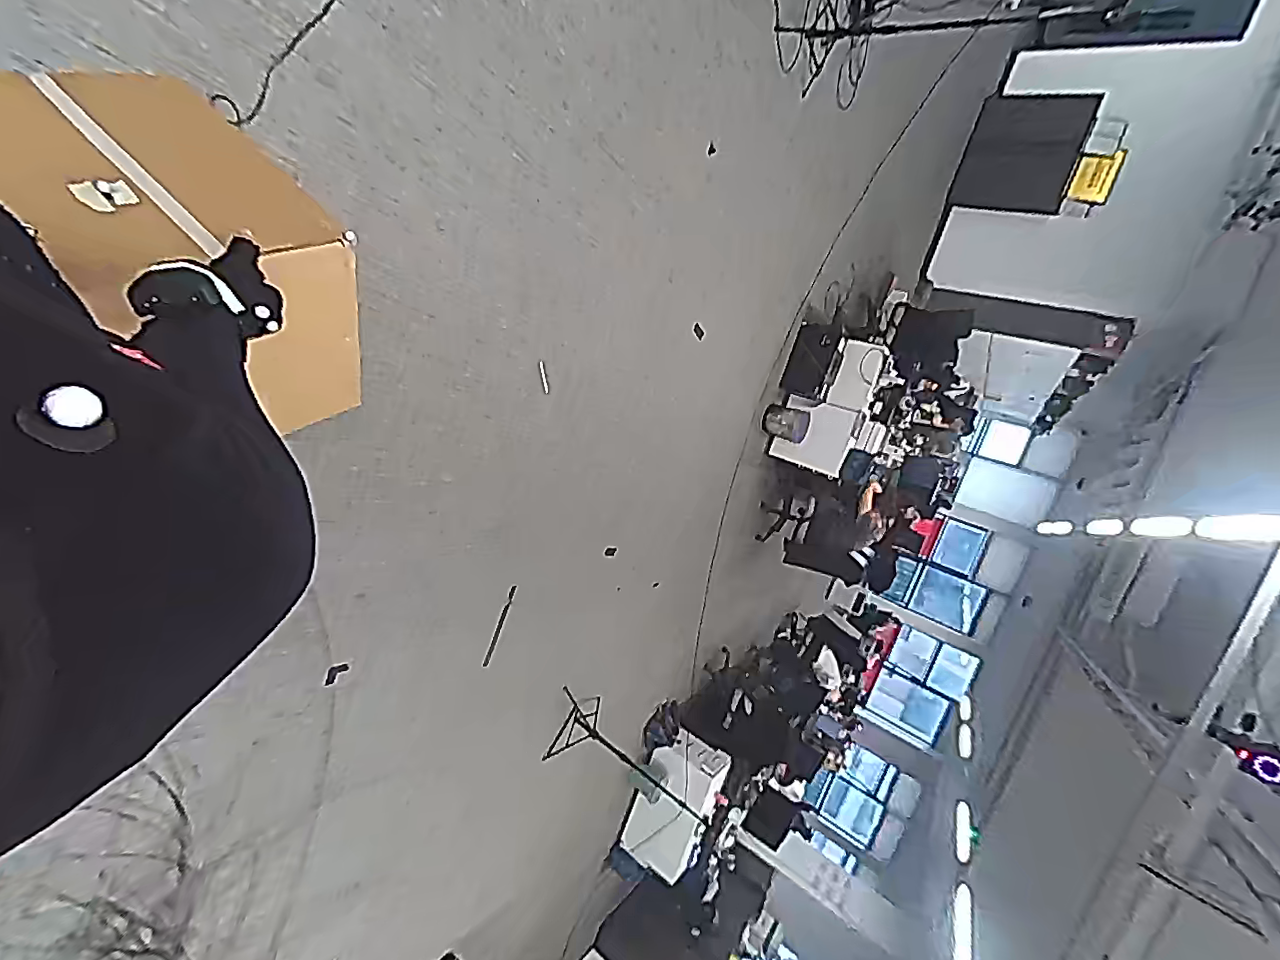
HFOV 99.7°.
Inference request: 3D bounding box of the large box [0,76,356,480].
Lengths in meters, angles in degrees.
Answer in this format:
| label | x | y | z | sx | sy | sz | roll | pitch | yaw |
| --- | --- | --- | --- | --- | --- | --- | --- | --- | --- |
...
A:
| label | x | y | z | sx | sy | sz | roll | pitch | yaw |
| --- | --- | --- | --- | --- | --- | --- | --- | --- | --- |
| large box | -0.663 | -0.281 | 0.752 | 0.320 | 0.408 | 0.320 | -40 | 168 | -40 |
